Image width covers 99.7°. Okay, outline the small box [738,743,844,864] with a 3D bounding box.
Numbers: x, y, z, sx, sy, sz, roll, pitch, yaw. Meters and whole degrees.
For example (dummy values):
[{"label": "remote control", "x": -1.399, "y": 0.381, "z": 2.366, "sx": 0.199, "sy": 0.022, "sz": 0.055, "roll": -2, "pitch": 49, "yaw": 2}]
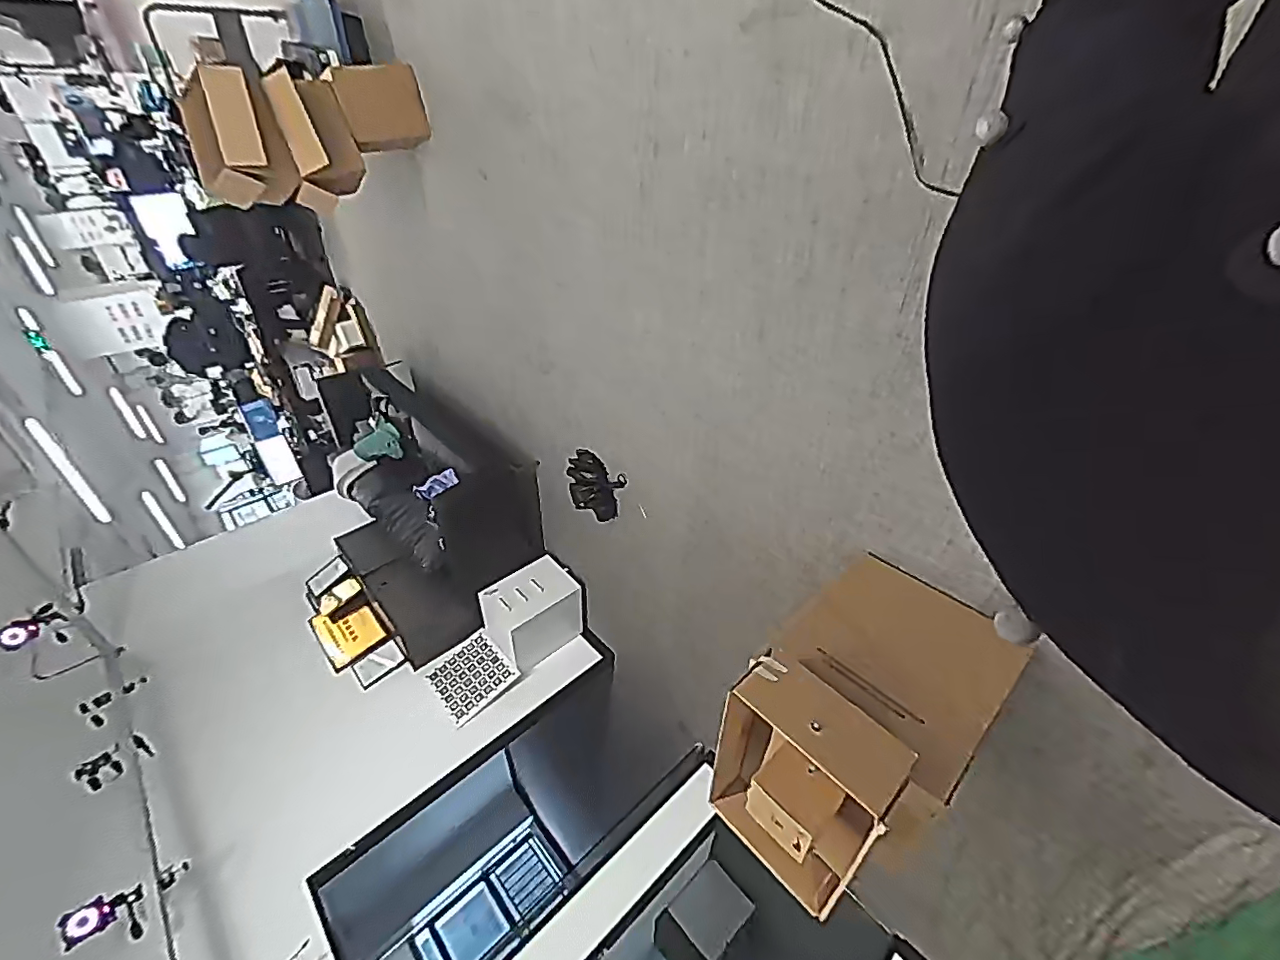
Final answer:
[{"label": "small box", "x": 0.373, "y": 0.794, "z": 1.349, "sx": 0.179, "sy": 0.176, "sz": 0.168, "roll": 35, "pitch": 140, "yaw": 38}]
